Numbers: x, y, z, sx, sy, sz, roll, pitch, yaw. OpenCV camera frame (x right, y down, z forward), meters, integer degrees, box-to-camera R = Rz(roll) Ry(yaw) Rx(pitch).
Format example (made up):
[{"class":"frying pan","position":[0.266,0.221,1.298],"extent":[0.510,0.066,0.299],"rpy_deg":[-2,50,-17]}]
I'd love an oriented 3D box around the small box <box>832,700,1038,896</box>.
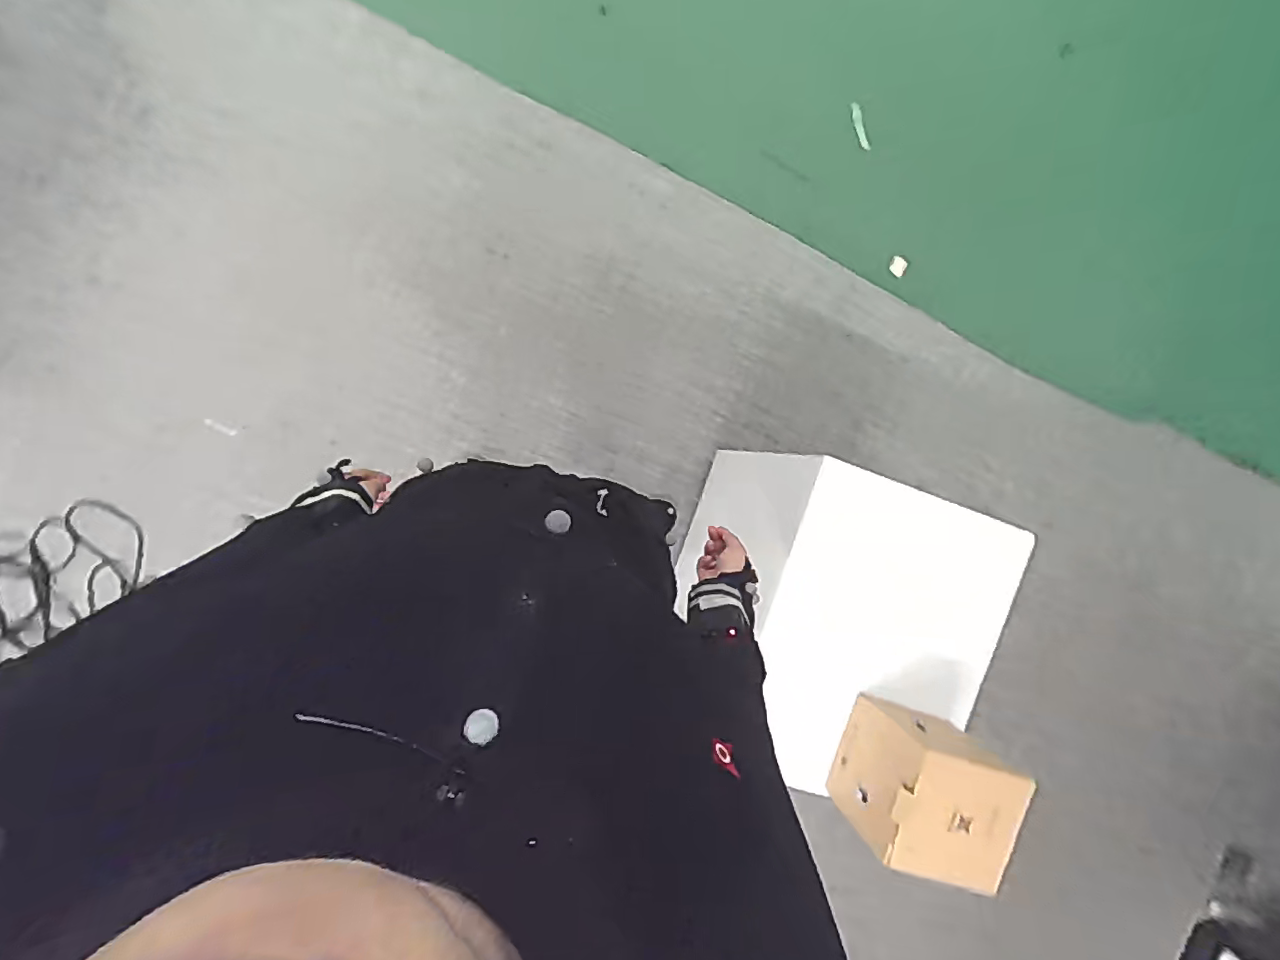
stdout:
[{"class":"small box","position":[0.413,0.447,0.788],"extent":[0.179,0.176,0.168],"rpy_deg":[20,91,-10]}]
